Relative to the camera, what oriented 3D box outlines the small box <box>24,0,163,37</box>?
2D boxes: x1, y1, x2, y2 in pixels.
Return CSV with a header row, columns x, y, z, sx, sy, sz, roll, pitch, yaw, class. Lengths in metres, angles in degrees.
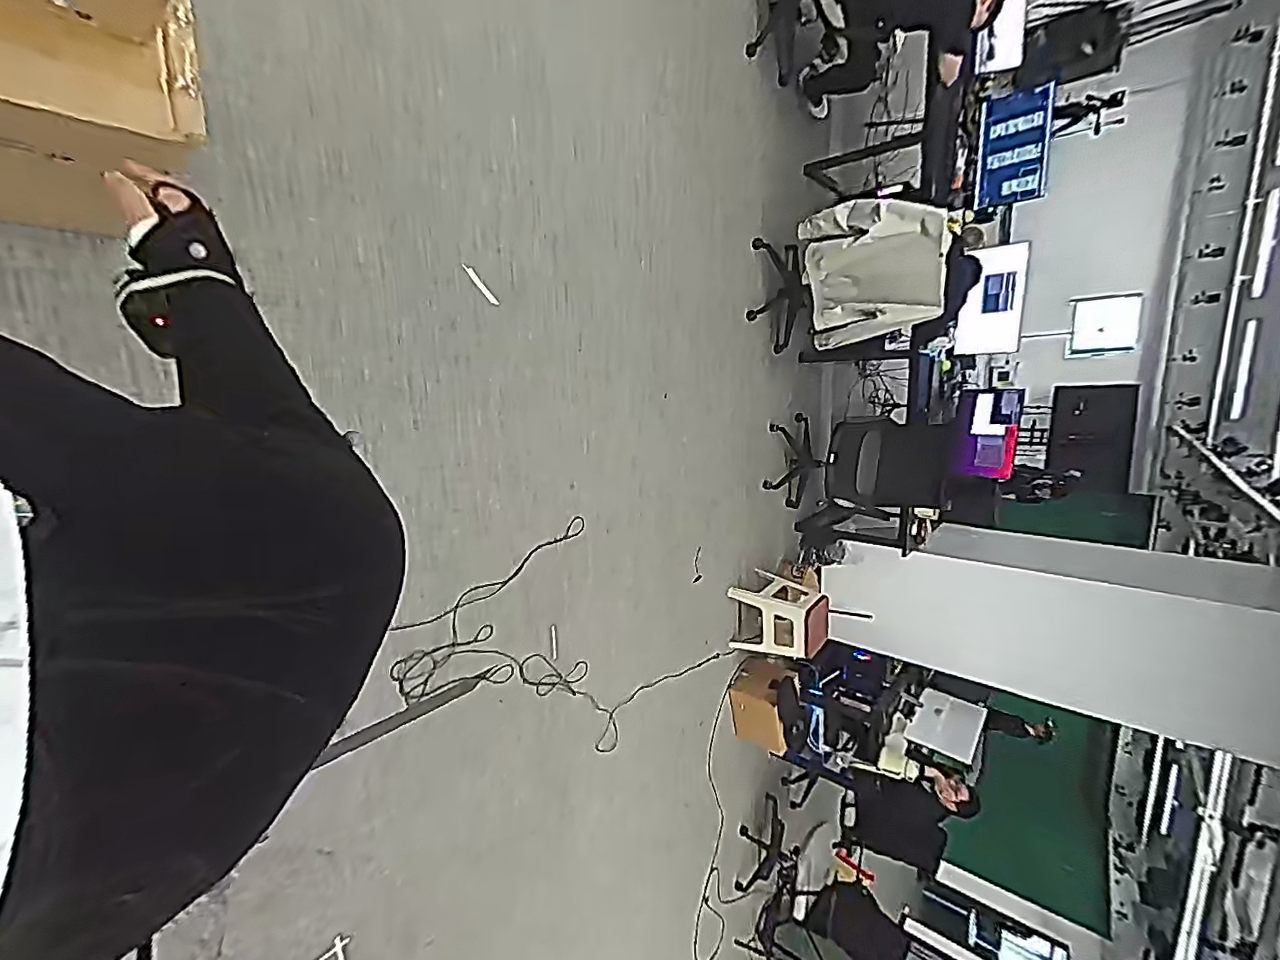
x,y,z,sx,sy,sz,roll,pitch,yaw,class
-0.583,-0.588,0.519,0.168,0.176,0.179,-12,105,-48,small box
